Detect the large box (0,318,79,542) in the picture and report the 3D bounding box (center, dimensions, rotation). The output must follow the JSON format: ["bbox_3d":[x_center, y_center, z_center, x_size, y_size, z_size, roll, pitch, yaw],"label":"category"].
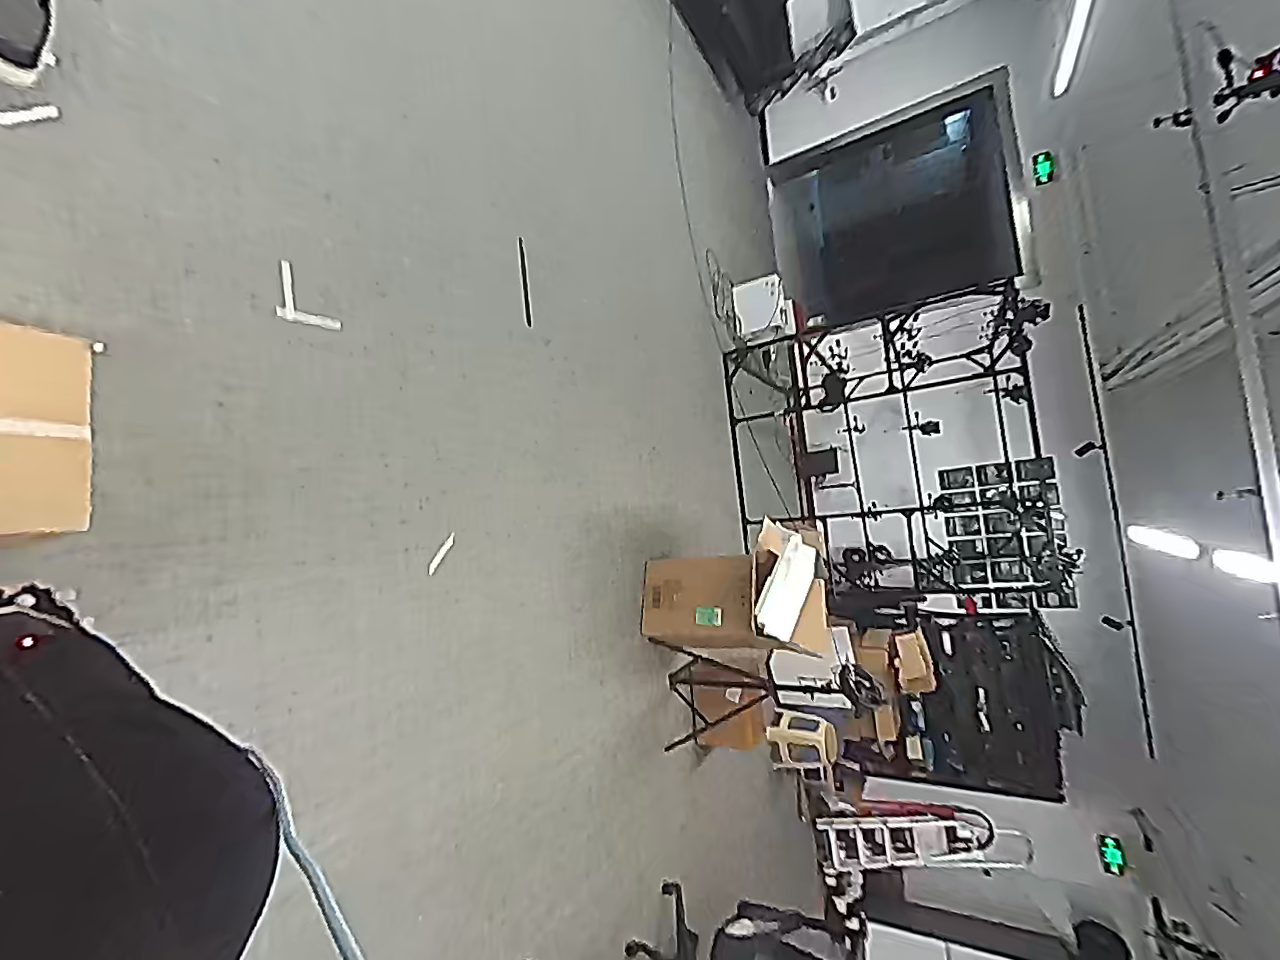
[{"bbox_3d":[-1.103,-0.069,0.737,0.408,0.320,0.320,6,77,-62],"label":"large box"}]
